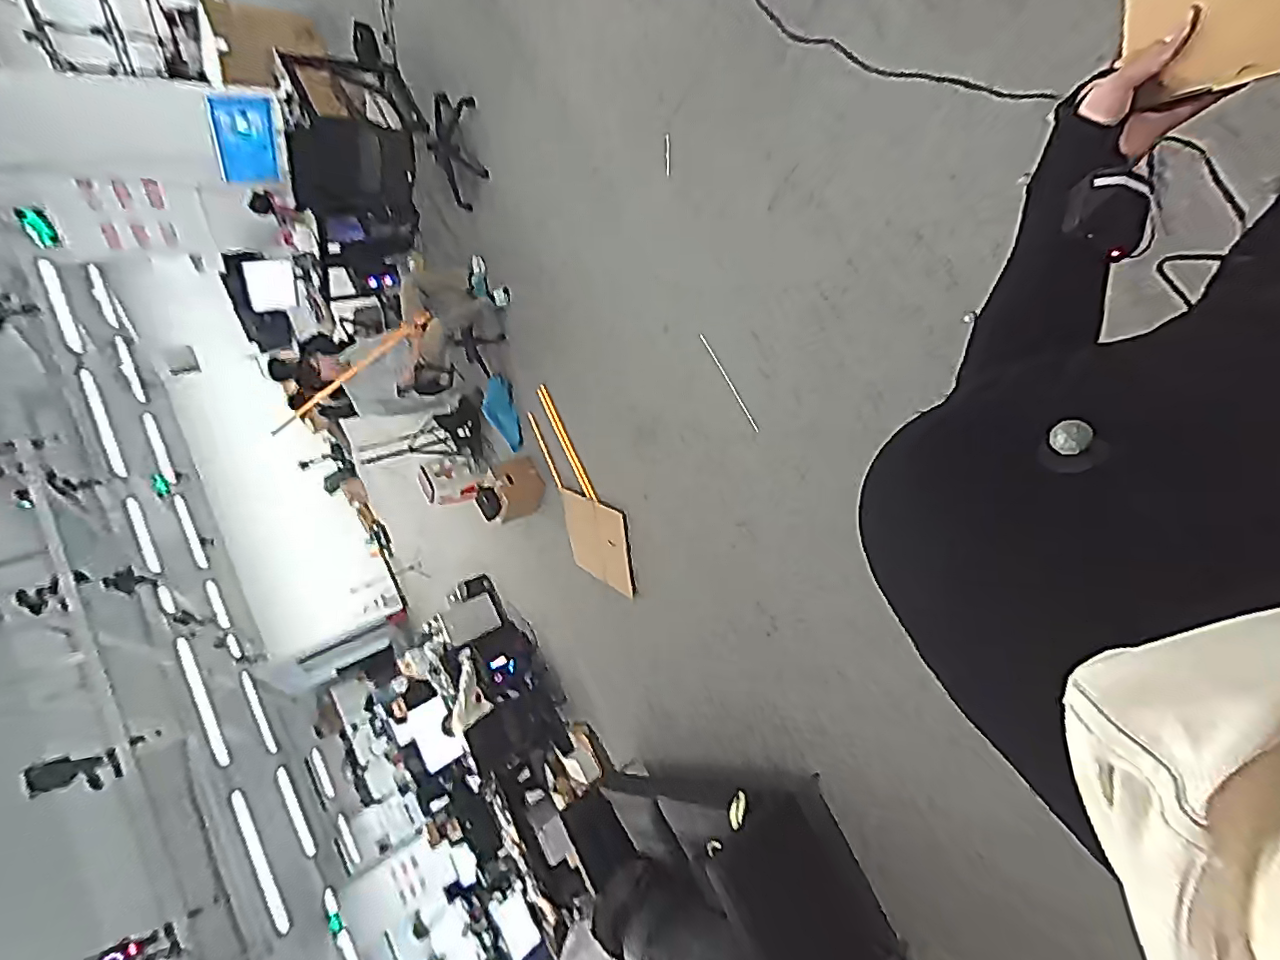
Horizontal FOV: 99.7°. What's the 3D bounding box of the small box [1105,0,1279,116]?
[{"bbox_3d":[0.523,-0.447,0.452,0.168,0.176,0.179,15,134,54],"label":"small box"}]
